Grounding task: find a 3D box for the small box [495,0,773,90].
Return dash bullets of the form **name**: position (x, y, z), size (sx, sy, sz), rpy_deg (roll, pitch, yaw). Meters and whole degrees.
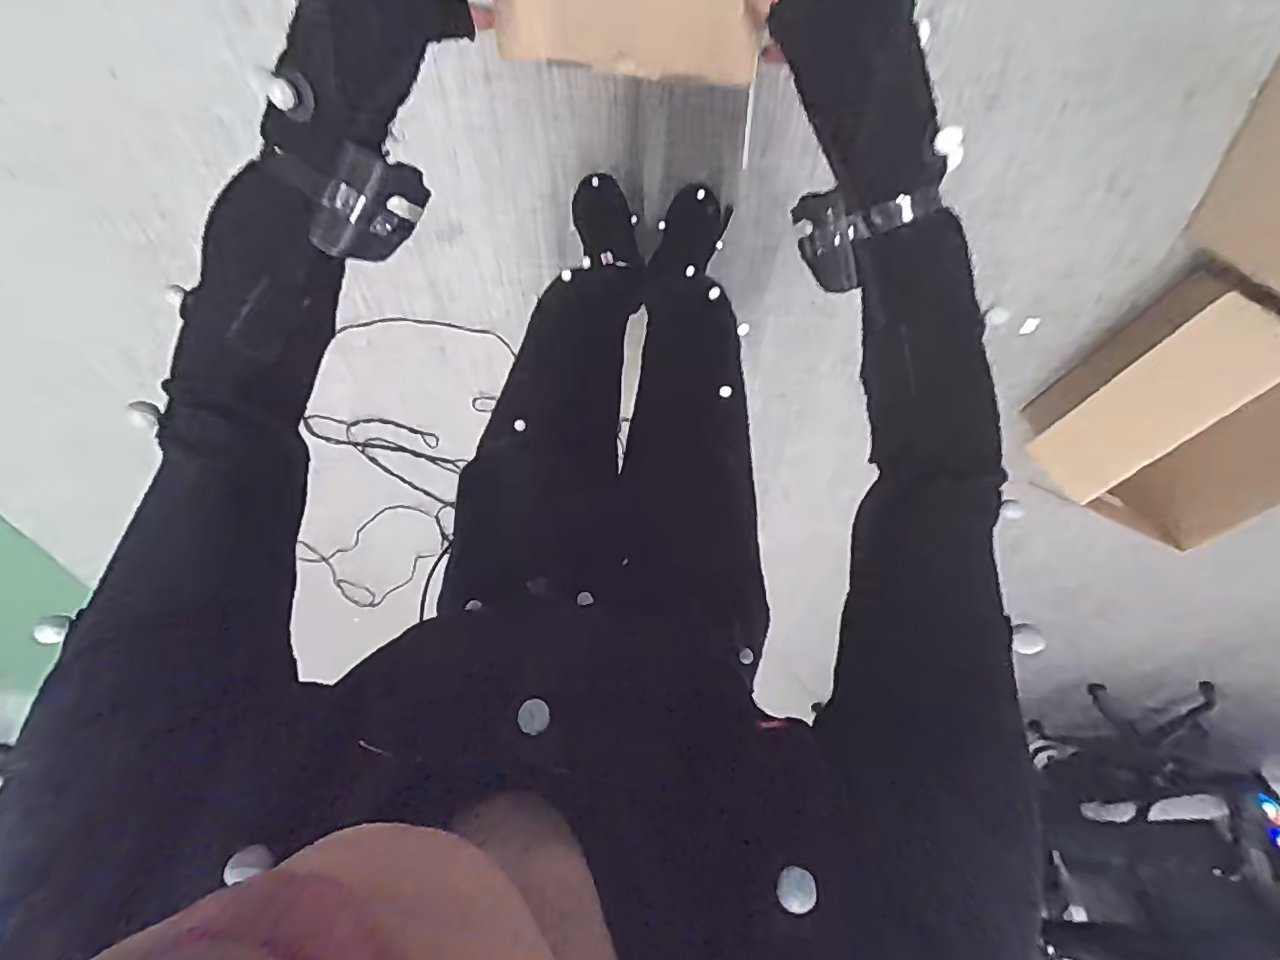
- **small box**: position (0.004, -0.373, 0.335), size (0.168, 0.176, 0.179), rpy_deg (6, 136, -1)
